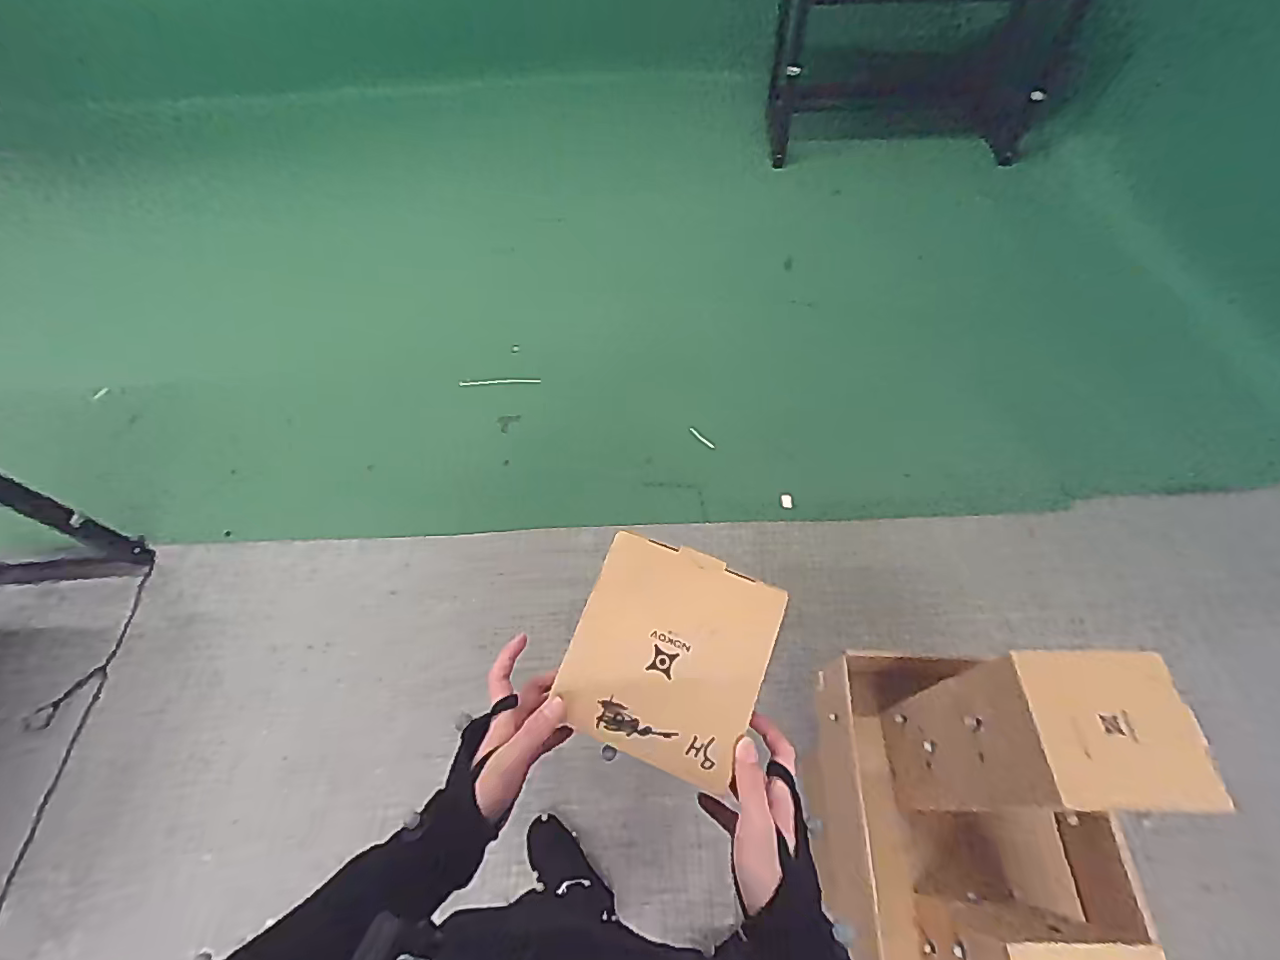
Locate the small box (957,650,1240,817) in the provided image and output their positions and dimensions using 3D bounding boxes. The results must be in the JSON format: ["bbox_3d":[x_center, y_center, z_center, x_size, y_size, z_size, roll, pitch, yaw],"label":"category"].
[{"bbox_3d":[0.535,0.315,0.666,0.179,0.176,0.168,0,57,3],"label":"small box"}]

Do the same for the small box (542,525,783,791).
[{"bbox_3d":[0.026,0.169,0.540,0.168,0.176,0.179,19,74,11],"label":"small box"}]

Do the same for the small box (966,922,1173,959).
[{"bbox_3d":[0.525,0.652,0.650,0.179,0.176,0.168,-1,59,3],"label":"small box"}]

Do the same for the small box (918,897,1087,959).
[{"bbox_3d":[0.541,0.732,0.794,0.179,0.176,0.168,2,59,6],"label":"small box"}]

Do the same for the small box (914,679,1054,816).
[{"bbox_3d":[0.544,0.400,0.804,0.179,0.176,0.168,-1,58,3],"label":"small box"}]
